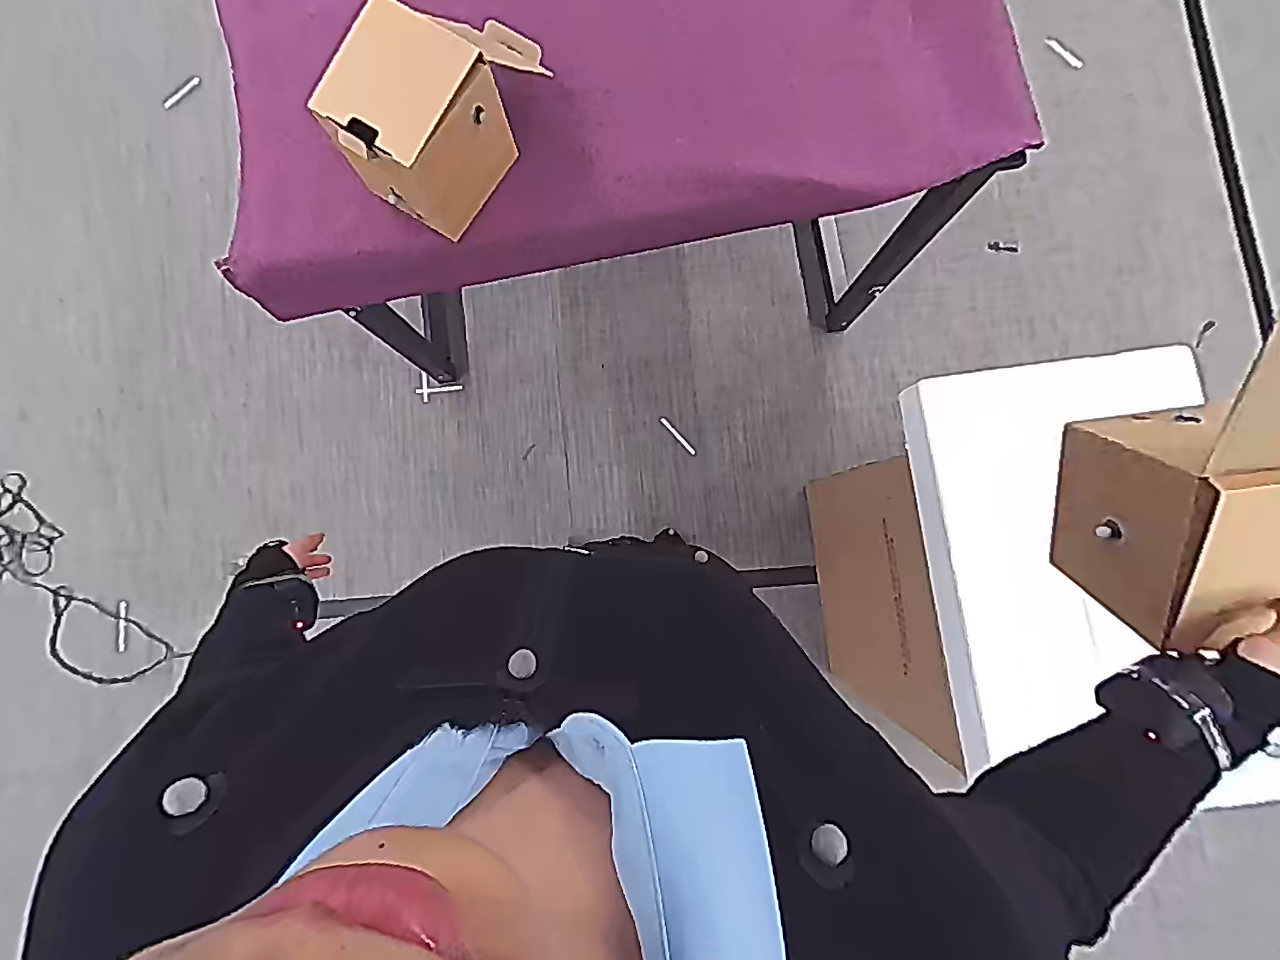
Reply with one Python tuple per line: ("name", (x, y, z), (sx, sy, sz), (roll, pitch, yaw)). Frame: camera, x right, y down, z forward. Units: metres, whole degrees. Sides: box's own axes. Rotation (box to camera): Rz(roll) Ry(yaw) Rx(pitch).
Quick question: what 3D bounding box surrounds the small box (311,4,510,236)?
("small box", (-0.305, -0.494, 0.766), (0.168, 0.176, 0.179), (32, 84, 5))
